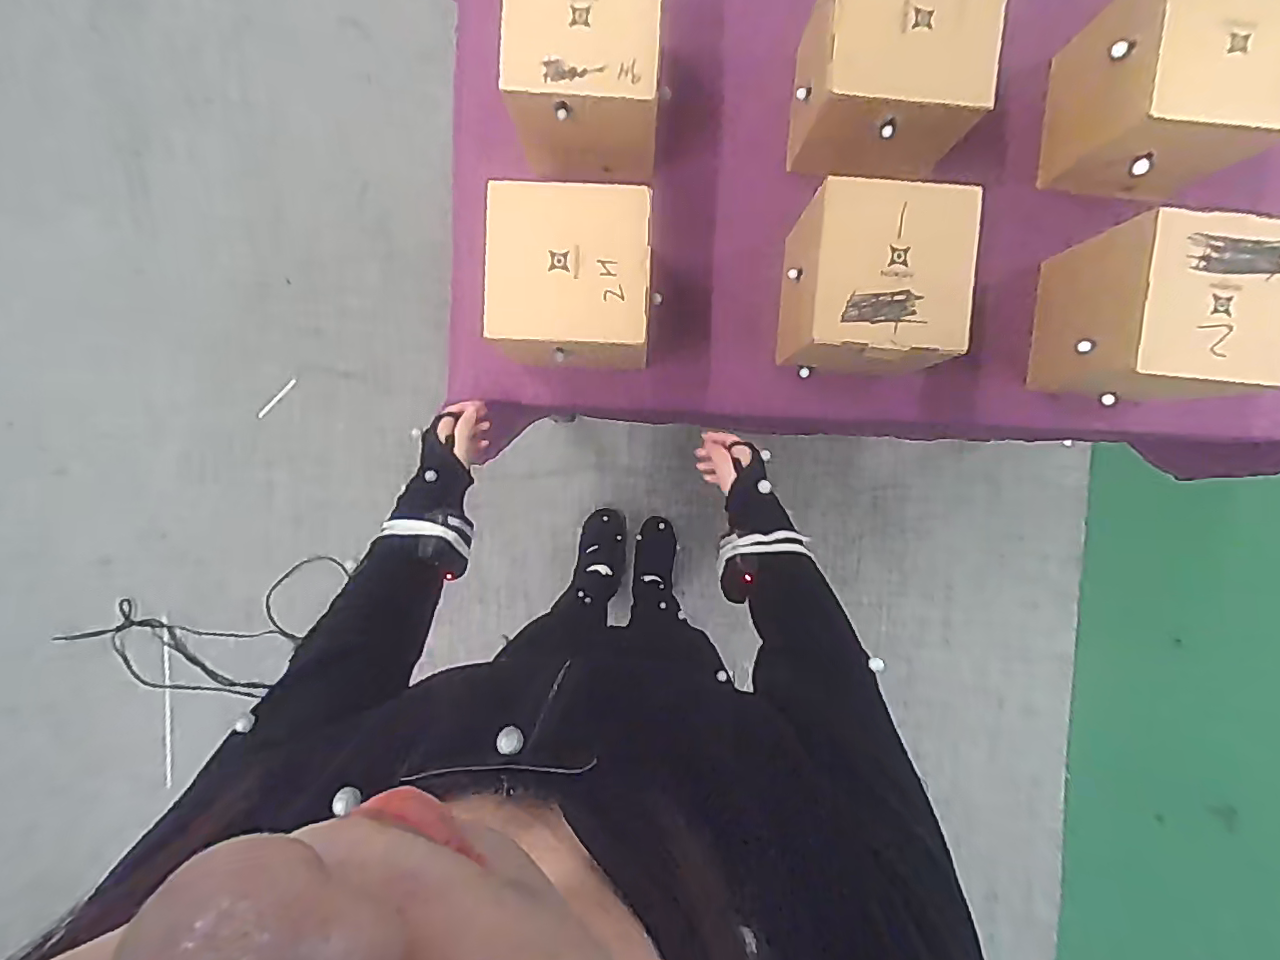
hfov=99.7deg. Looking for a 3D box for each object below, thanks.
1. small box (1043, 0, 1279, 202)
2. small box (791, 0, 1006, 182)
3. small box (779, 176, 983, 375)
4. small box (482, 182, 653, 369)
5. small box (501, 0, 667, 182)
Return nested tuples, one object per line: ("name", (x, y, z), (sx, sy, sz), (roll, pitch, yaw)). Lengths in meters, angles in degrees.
("small box", (0.615, -0.452, 0.631), (0.168, 0.176, 0.179), (6, 92, 1))
("small box", (0.288, -0.476, 0.636), (0.179, 0.176, 0.168), (6, 93, 0))
("small box", (0.269, -0.227, 0.646), (0.168, 0.176, 0.179), (5, 91, 1))
("small box", (-0.077, -0.231, 0.651), (0.179, 0.176, 0.168), (3, 93, 0))
("small box", (-0.057, -0.488, 0.640), (0.168, 0.176, 0.179), (4, 92, 0))
